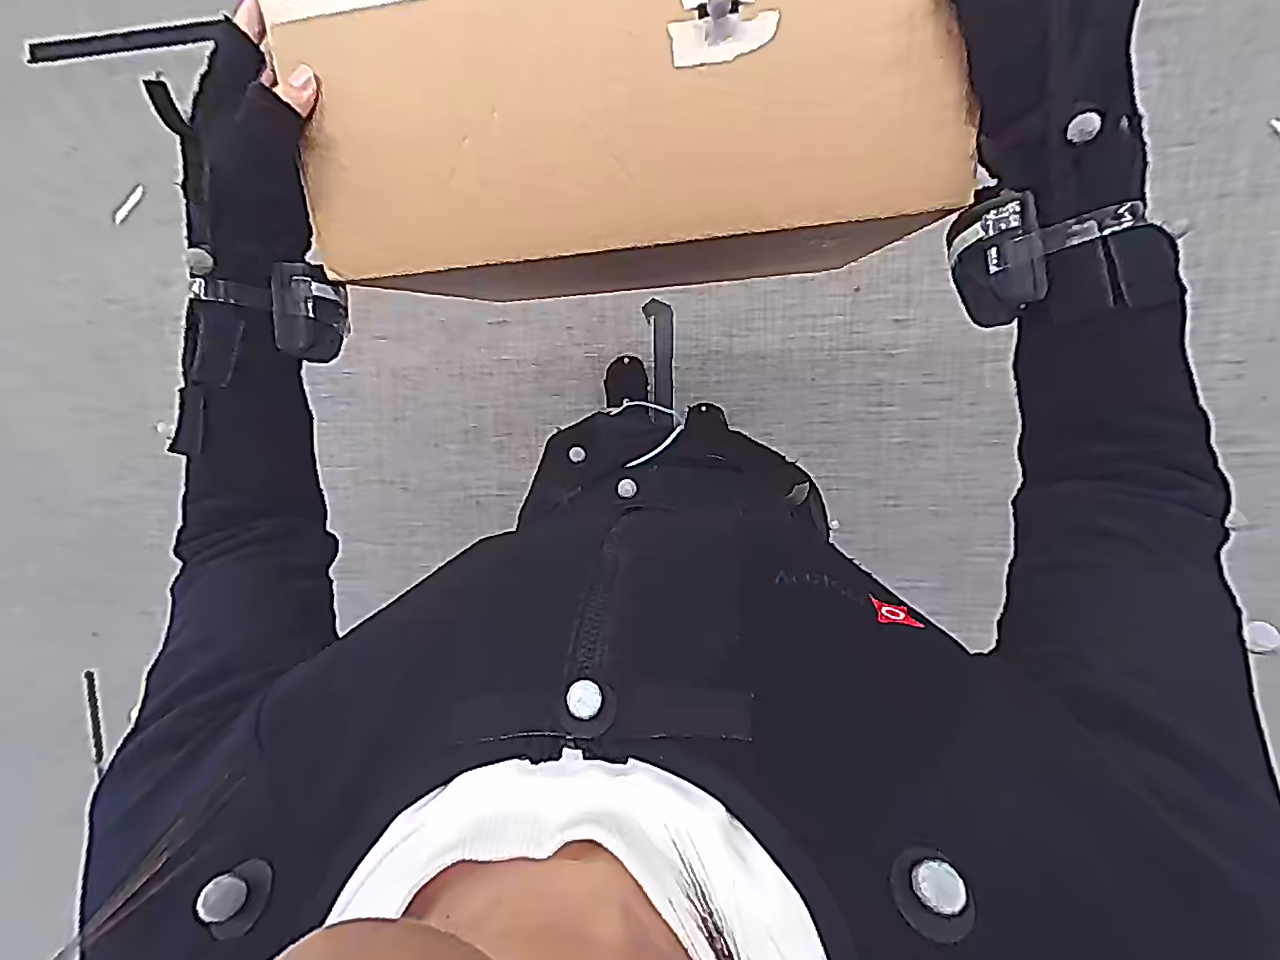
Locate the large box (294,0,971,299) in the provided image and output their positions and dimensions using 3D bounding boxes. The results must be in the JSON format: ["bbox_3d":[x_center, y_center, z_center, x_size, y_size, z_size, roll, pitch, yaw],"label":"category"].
[{"bbox_3d":[-0.004,-0.344,0.452,0.408,0.320,0.320,-4,106,7],"label":"large box"}]
